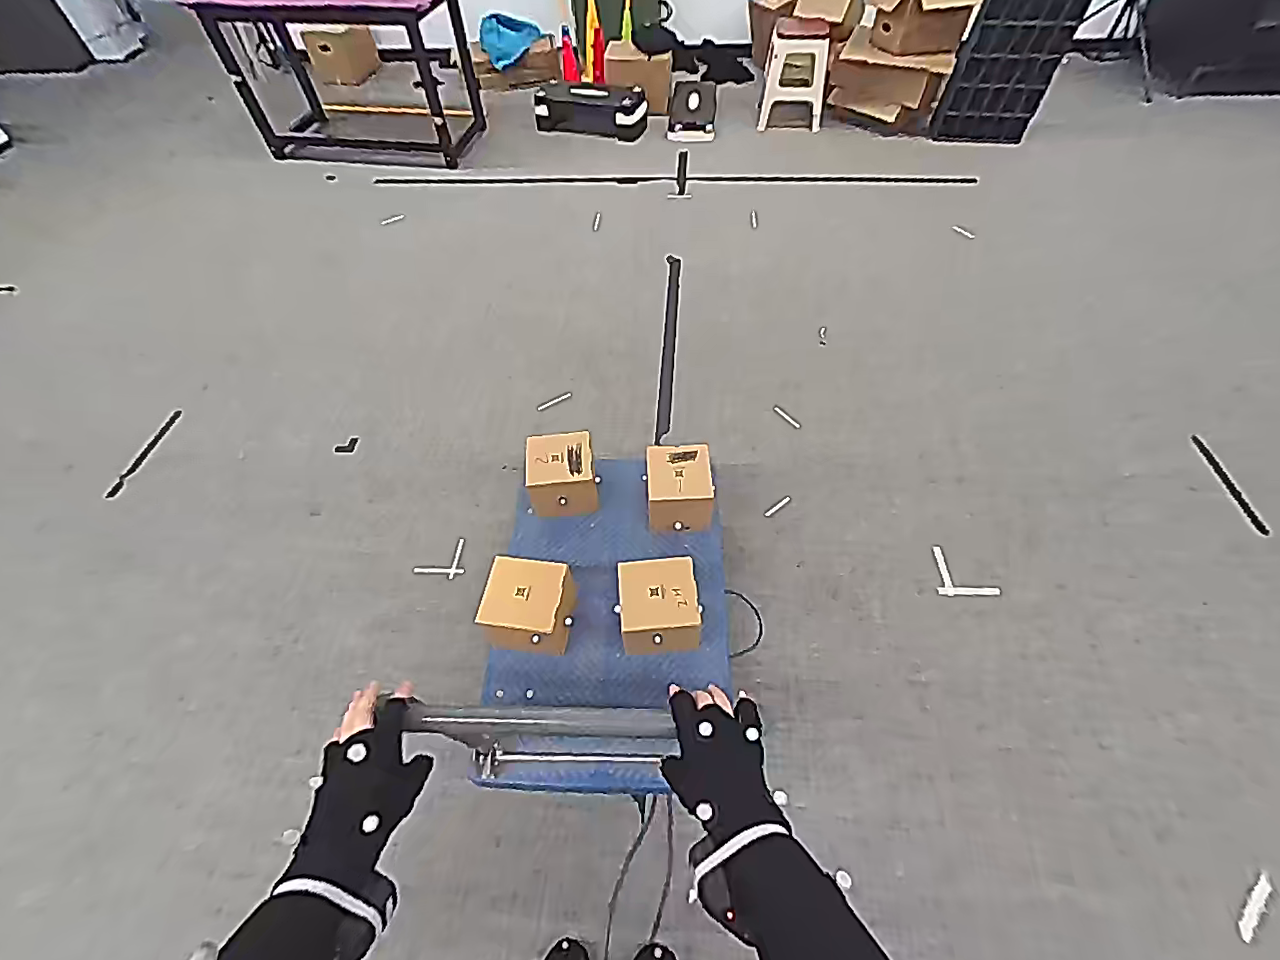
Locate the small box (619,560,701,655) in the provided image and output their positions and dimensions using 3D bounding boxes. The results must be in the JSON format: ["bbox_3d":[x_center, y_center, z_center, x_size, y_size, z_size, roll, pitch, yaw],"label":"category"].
[{"bbox_3d":[0.045,0.304,1.278,0.179,0.176,0.168,-4,54,-1],"label":"small box"}]

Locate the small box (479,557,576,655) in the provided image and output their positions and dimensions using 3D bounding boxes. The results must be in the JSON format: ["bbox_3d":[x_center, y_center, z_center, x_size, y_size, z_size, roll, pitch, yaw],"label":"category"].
[{"bbox_3d":[-0.259,0.304,1.290,0.179,0.176,0.168,6,54,5],"label":"small box"}]

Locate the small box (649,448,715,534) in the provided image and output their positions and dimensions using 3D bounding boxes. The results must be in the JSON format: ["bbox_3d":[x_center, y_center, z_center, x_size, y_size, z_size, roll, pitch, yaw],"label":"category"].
[{"bbox_3d":[0.108,0.032,1.472,0.168,0.176,0.179,-2,55,1],"label":"small box"}]
